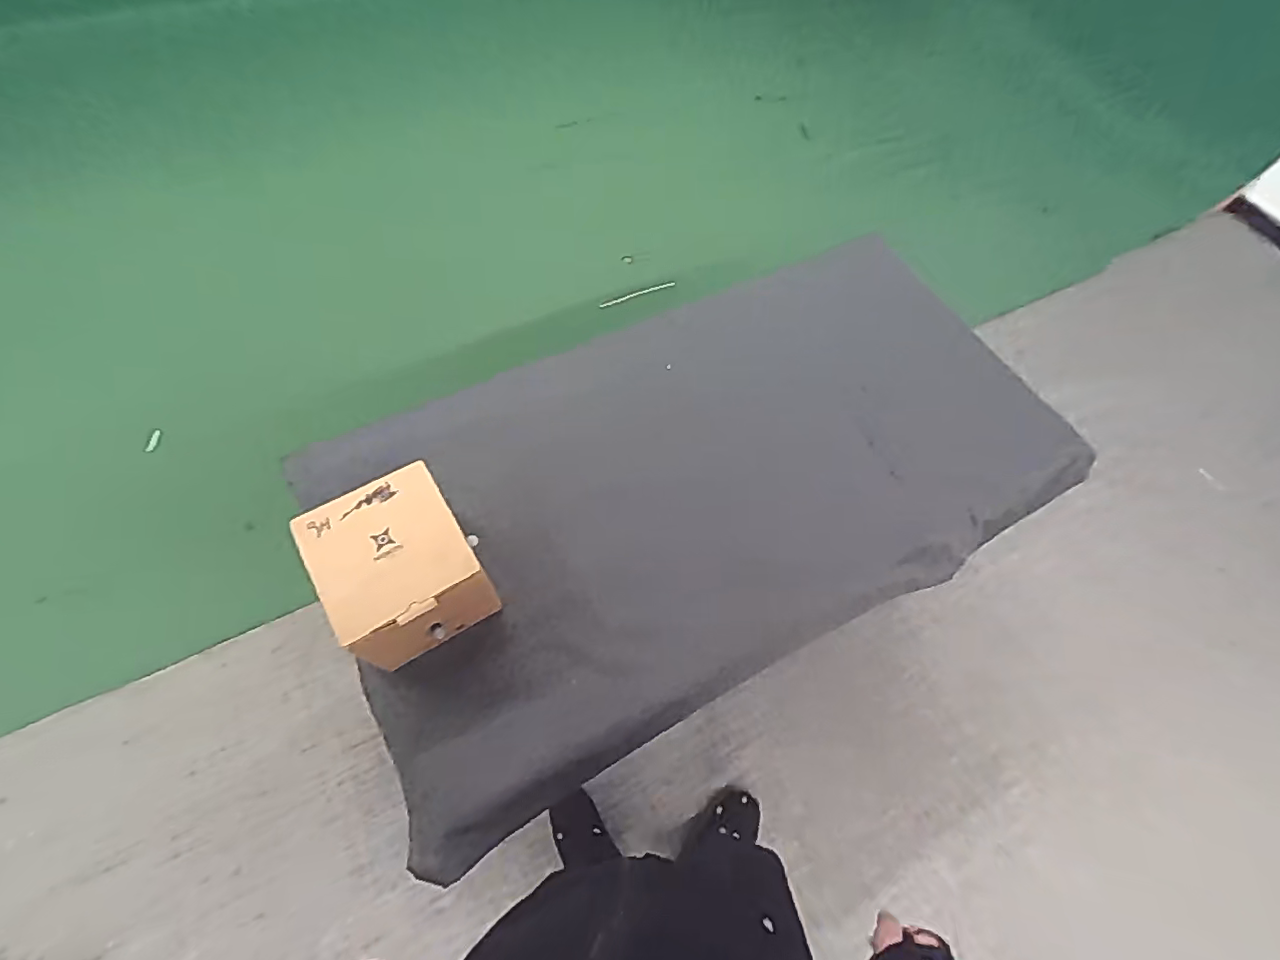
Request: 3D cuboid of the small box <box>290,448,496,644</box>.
[{"bbox_3d":[-0.304,0.095,0.700,0.168,0.176,0.179,-29,71,-18],"label":"small box"}]
